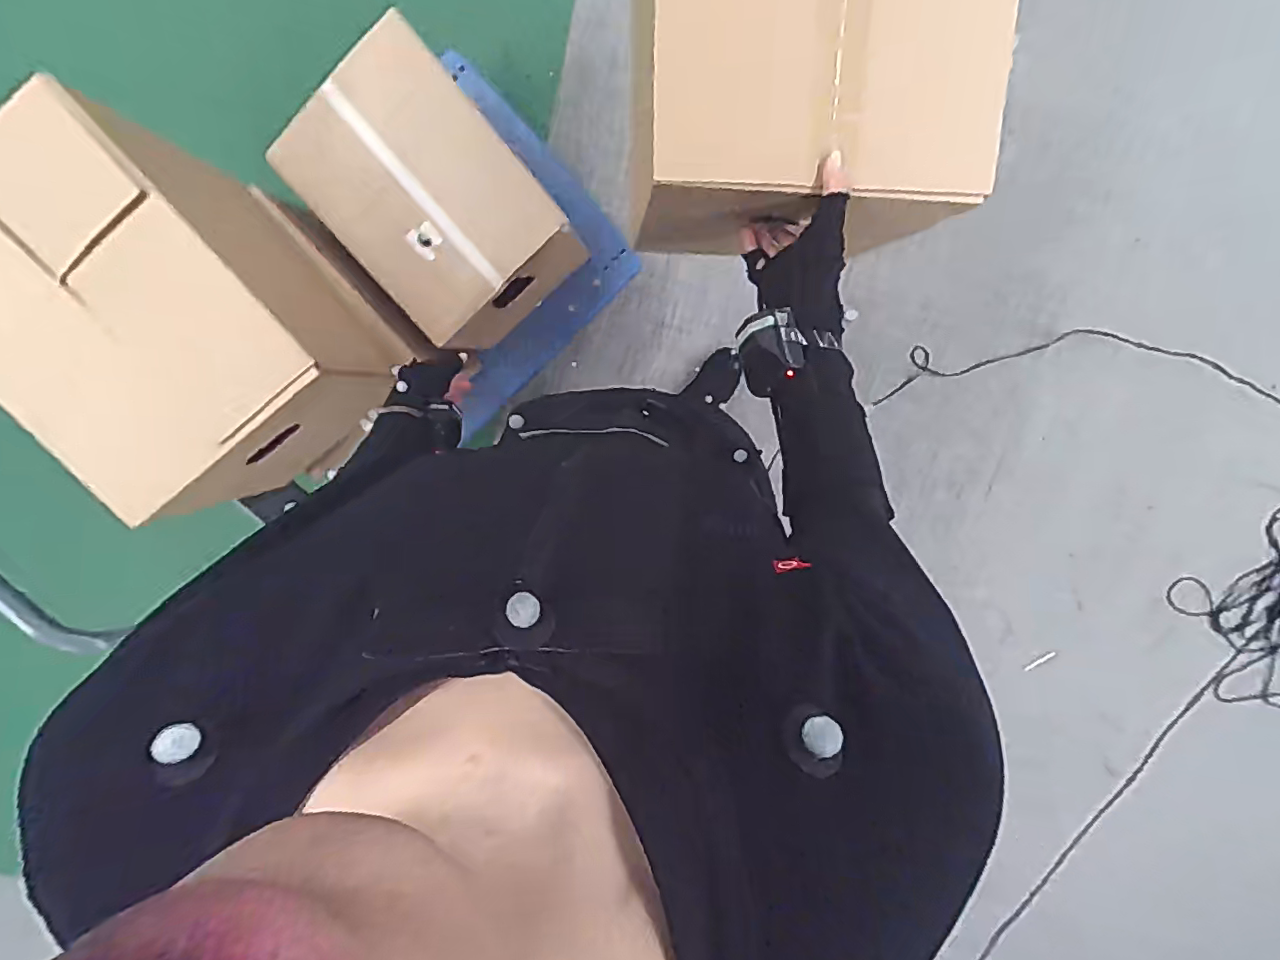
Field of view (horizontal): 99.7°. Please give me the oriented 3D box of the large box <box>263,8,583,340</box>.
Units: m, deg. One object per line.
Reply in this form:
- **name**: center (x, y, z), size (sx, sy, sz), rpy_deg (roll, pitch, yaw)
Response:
- **large box**: center (-0.363, -0.517, 1.020), size (0.320, 0.320, 0.408), rpy_deg (-40, 100, 10)
